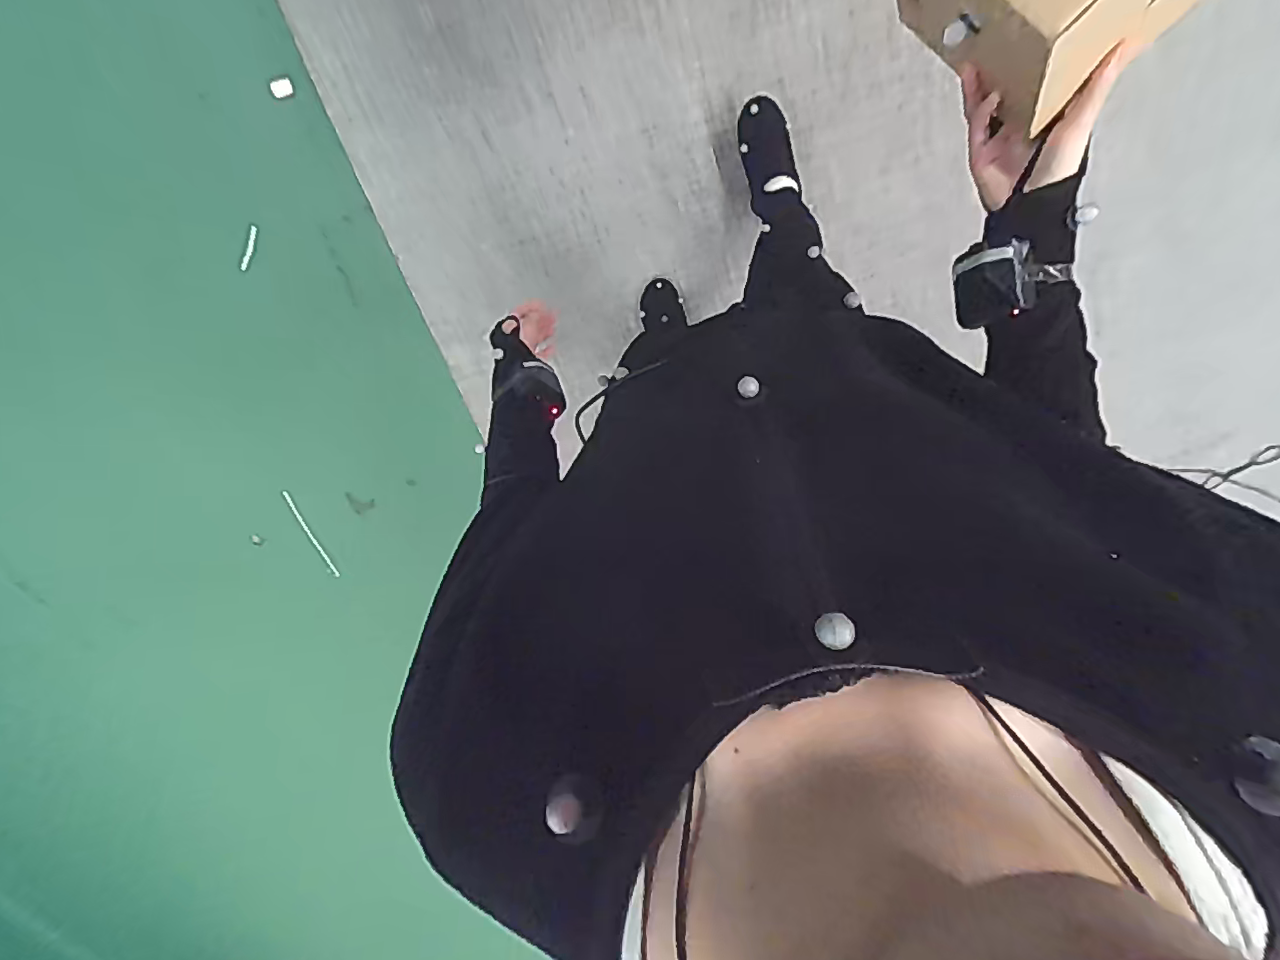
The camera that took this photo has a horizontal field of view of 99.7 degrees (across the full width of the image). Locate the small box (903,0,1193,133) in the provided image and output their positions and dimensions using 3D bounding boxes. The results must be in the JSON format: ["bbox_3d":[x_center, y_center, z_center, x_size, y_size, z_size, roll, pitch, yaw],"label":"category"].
[{"bbox_3d":[0.289,-0.386,0.349,0.179,0.168,0.176,-43,75,29],"label":"small box"}]
